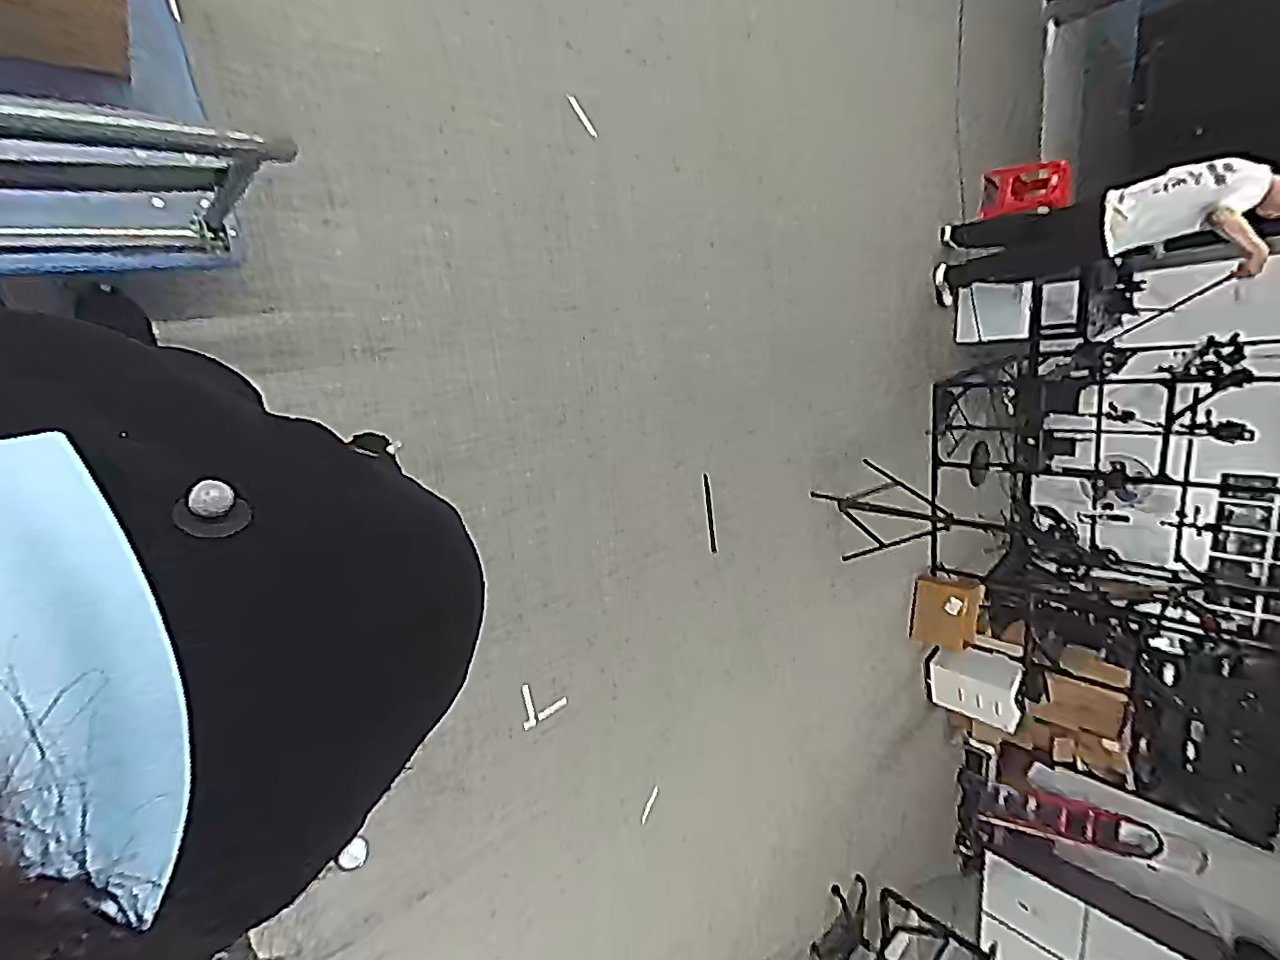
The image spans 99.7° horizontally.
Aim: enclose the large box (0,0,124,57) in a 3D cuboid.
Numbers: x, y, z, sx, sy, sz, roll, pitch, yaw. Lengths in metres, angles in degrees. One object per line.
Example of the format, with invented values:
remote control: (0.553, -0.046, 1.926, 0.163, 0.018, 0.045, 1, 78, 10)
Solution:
large box: (-0.938, -0.787, 0.646, 0.408, 0.320, 0.320, -19, 108, -39)
